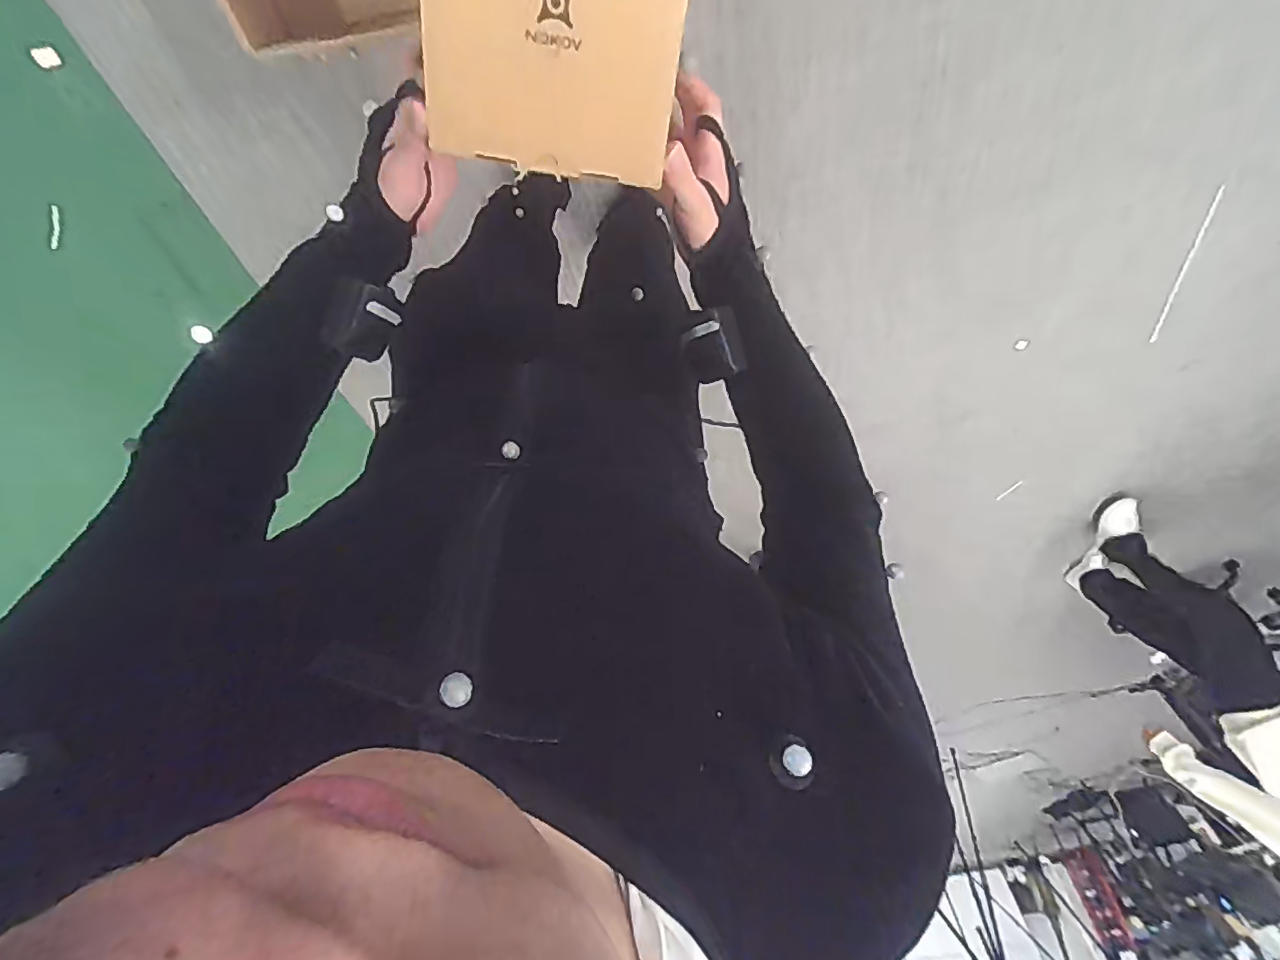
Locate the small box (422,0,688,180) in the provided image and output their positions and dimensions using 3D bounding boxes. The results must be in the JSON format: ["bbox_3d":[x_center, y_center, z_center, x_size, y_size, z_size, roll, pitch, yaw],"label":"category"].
[{"bbox_3d":[-0.055,-0.342,0.399,0.168,0.176,0.179,5,126,-6],"label":"small box"}]
